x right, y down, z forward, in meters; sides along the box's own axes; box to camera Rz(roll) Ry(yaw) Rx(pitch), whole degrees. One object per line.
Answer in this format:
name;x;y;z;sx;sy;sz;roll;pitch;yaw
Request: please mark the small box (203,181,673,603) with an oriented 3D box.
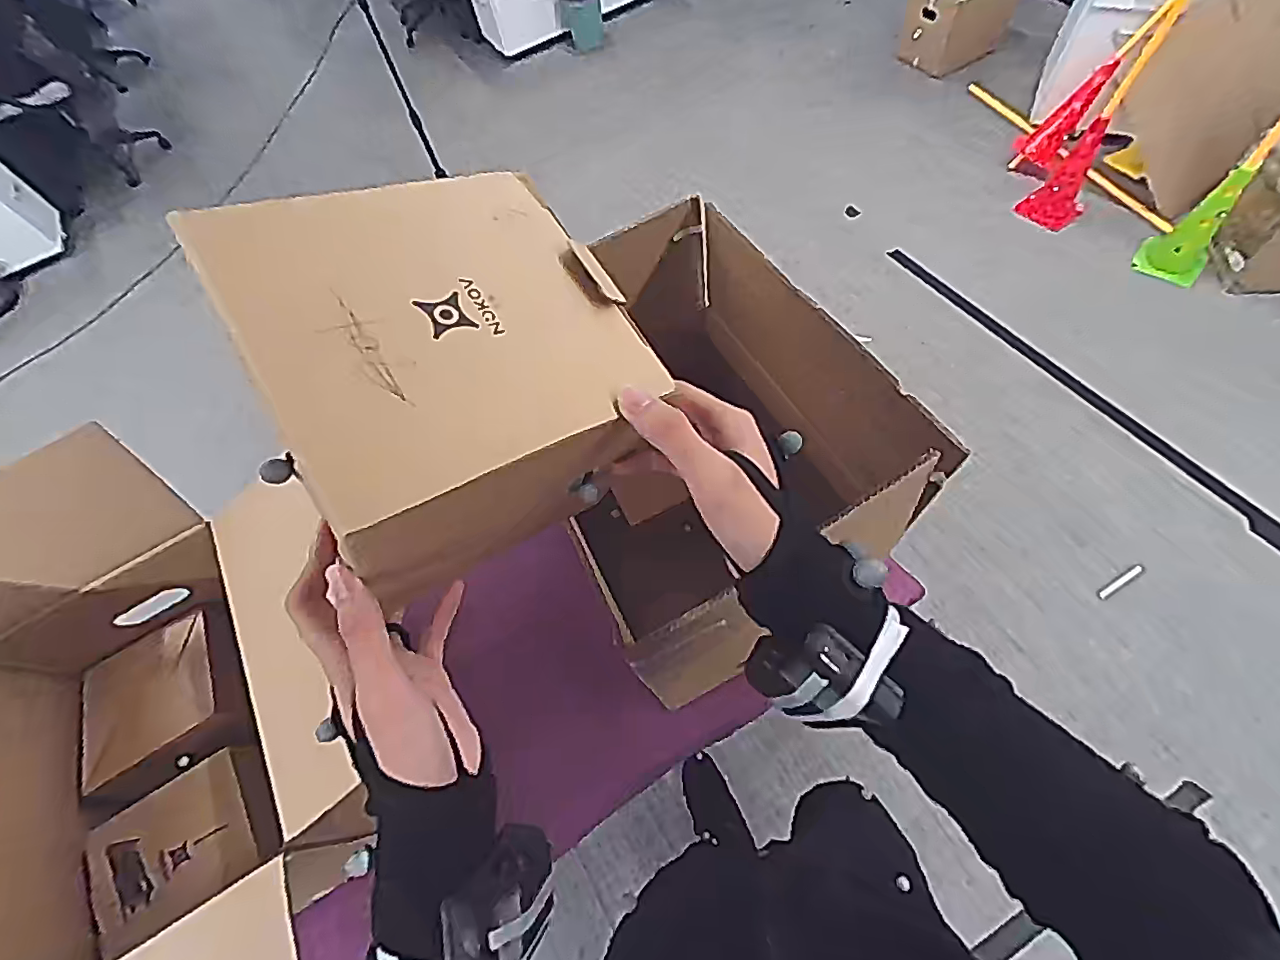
small box;-0.116;-0.047;0.339;0.179;0.176;0.168;-28;77;-29
